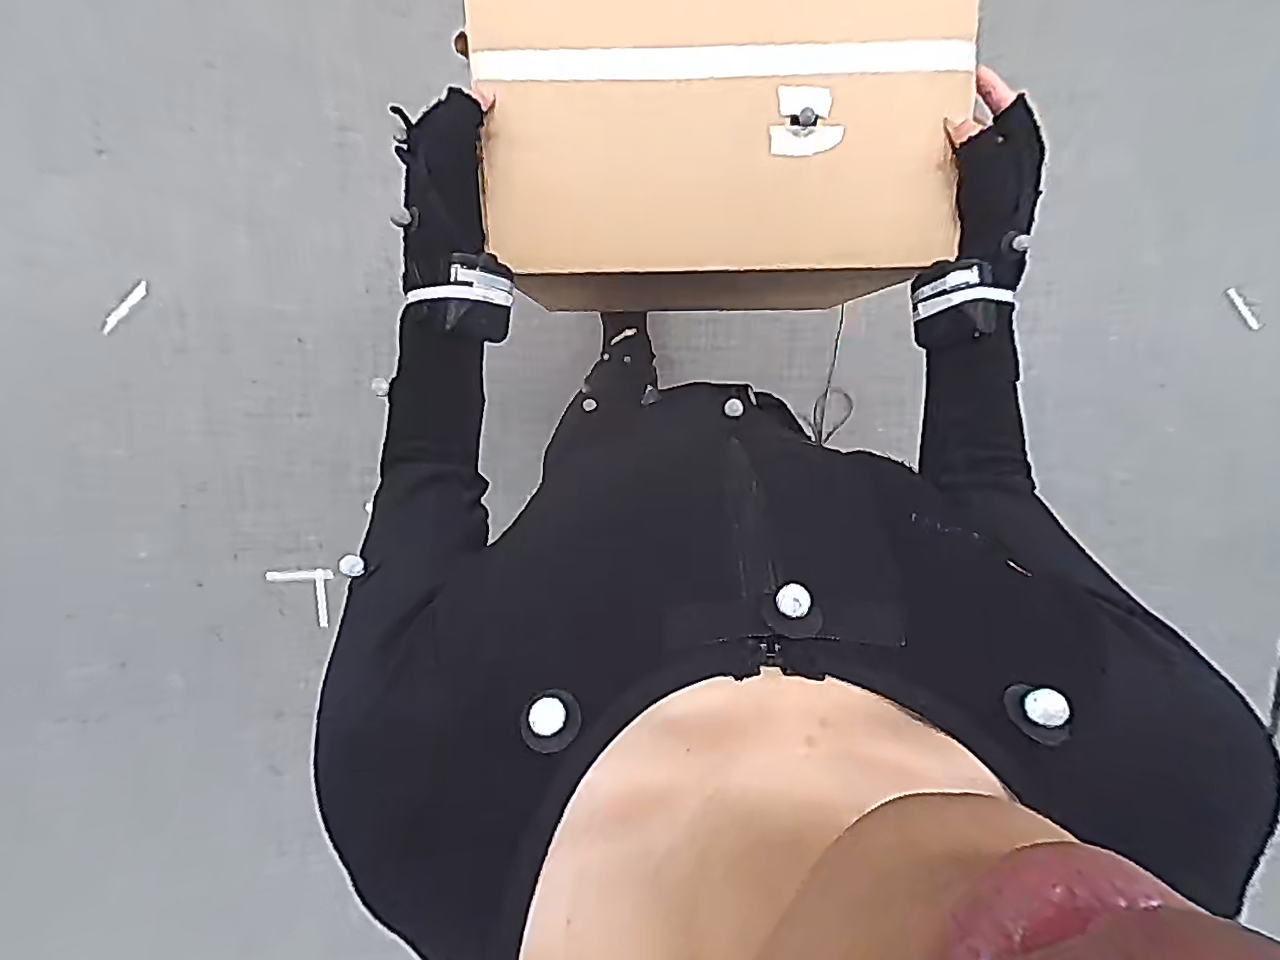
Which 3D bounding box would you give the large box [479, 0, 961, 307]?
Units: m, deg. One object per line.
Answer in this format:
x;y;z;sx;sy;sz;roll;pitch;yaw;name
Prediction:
0.063;-0.376;0.599;0.408;0.320;0.320;-1;102;0;large box
